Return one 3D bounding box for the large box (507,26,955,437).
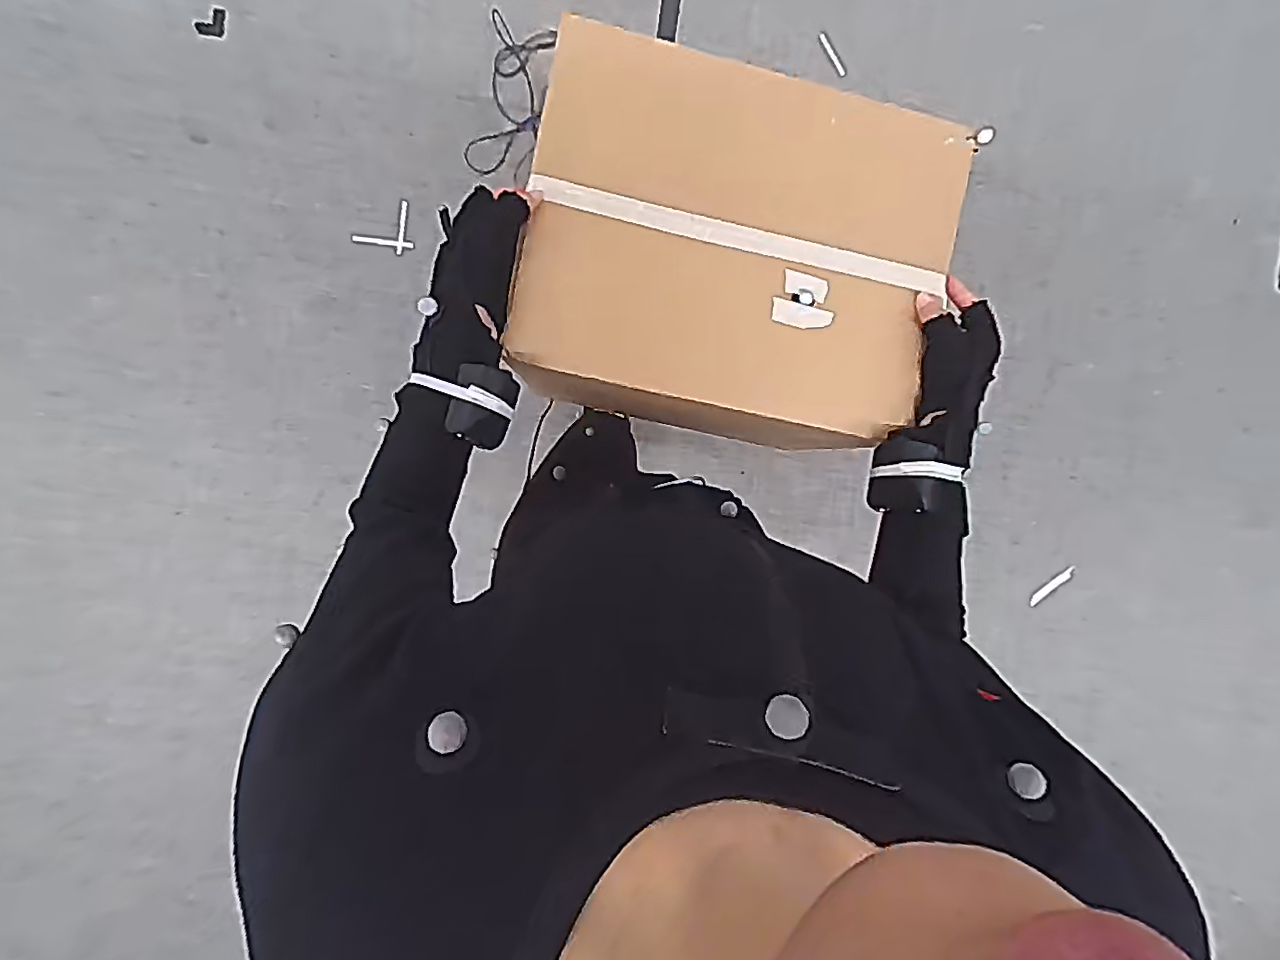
[{"bbox_3d":[0.079,-0.244,0.671,0.408,0.320,0.320,12,93,-6],"label":"large box"}]
